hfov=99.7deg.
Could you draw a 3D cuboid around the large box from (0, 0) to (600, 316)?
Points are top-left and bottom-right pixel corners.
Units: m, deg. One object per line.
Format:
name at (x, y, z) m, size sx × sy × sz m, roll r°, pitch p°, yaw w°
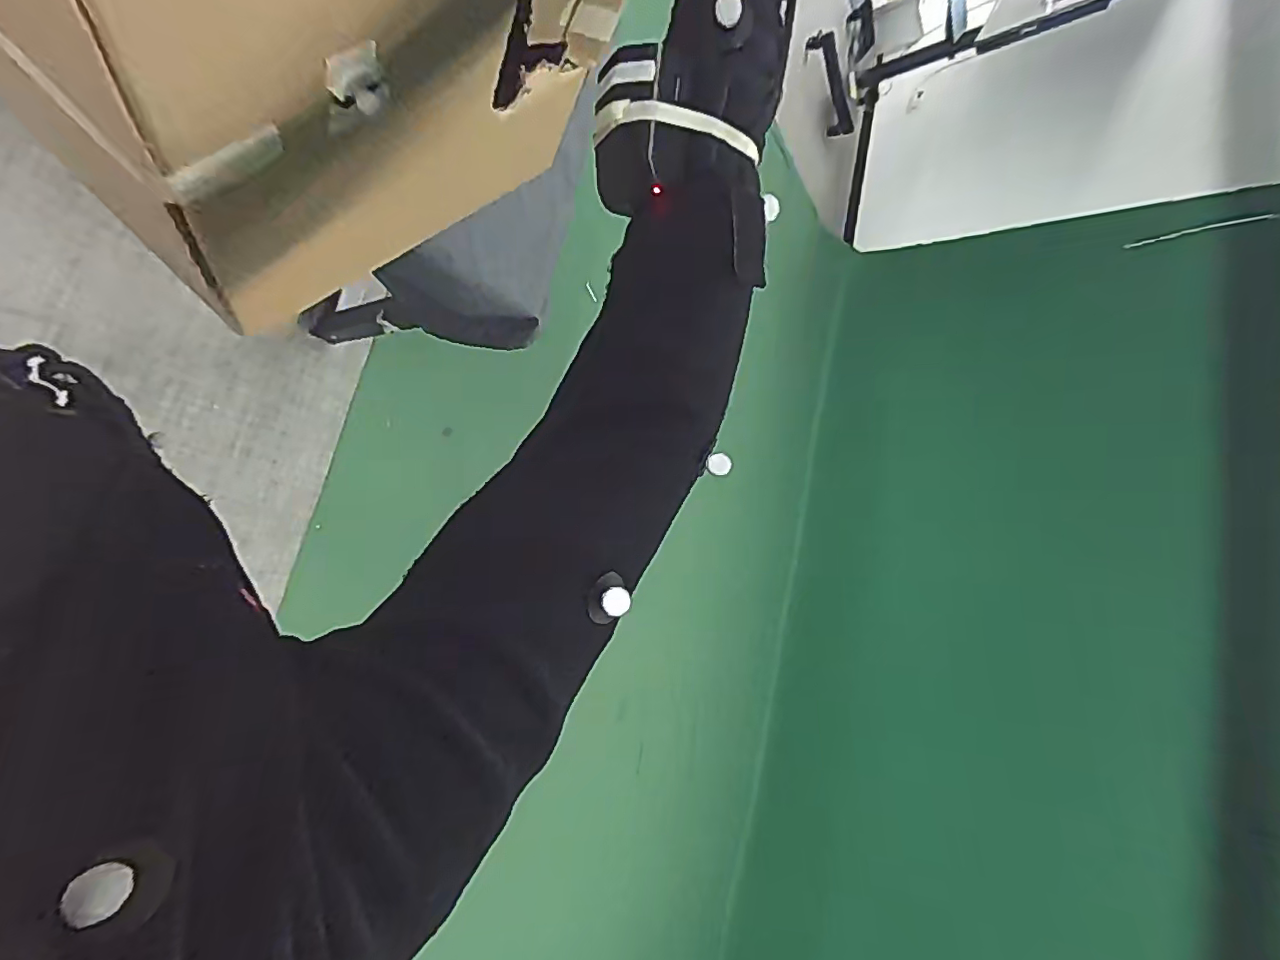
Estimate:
large box at (-0.248, -0.375, 0.275) m, size 0.408 × 0.320 × 0.320 m, roll 46°, pitch 63°, yaw -11°
